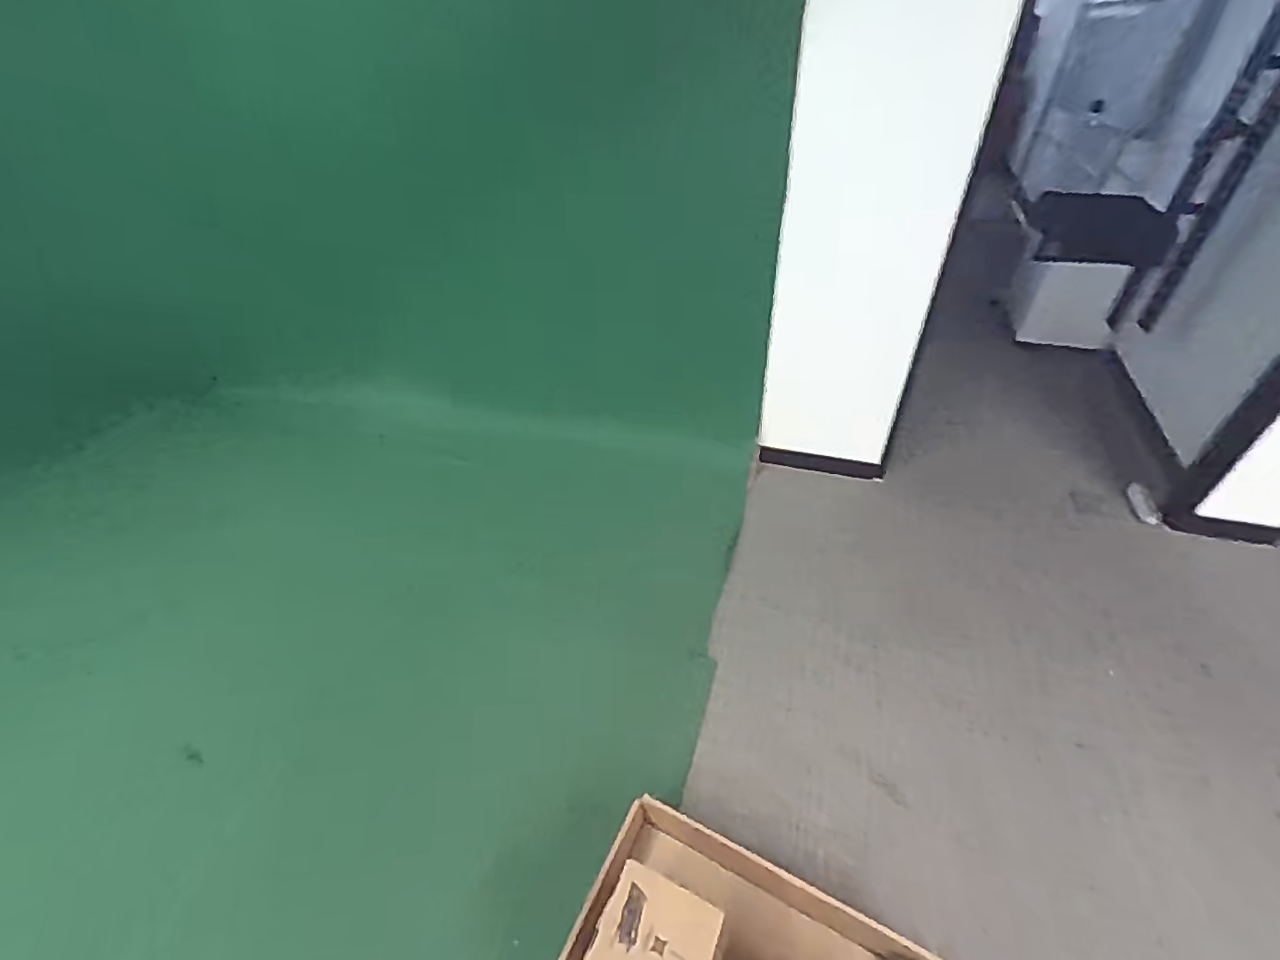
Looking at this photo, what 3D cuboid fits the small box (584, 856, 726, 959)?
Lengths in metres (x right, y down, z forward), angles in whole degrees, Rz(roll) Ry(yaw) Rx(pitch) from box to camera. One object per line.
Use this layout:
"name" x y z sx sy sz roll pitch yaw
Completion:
"small box" 0.027 0.770 0.889 0.179 0.176 0.168 17 46 20
